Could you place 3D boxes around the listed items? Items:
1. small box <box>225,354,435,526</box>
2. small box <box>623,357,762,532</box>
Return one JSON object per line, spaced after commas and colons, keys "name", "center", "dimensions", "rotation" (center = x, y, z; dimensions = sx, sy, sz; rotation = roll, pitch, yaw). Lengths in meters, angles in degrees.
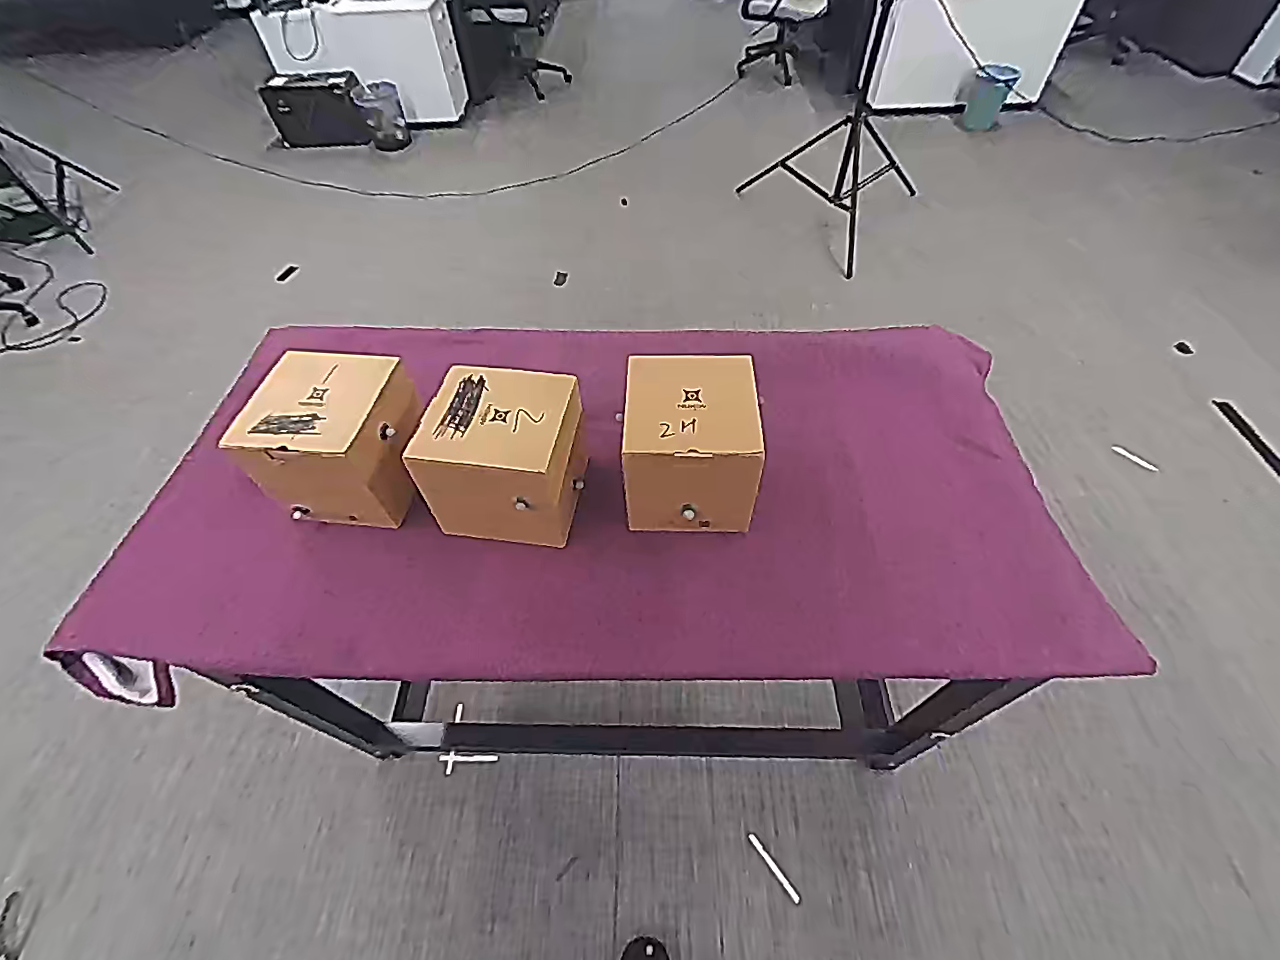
{"name": "small box", "center": [-0.412, -0.052, 0.760], "dimensions": [0.168, 0.176, 0.179], "rotation": [4, 53, 5]}
{"name": "small box", "center": [0.066, -0.048, 0.740], "dimensions": [0.168, 0.176, 0.179], "rotation": [0, 52, 3]}
